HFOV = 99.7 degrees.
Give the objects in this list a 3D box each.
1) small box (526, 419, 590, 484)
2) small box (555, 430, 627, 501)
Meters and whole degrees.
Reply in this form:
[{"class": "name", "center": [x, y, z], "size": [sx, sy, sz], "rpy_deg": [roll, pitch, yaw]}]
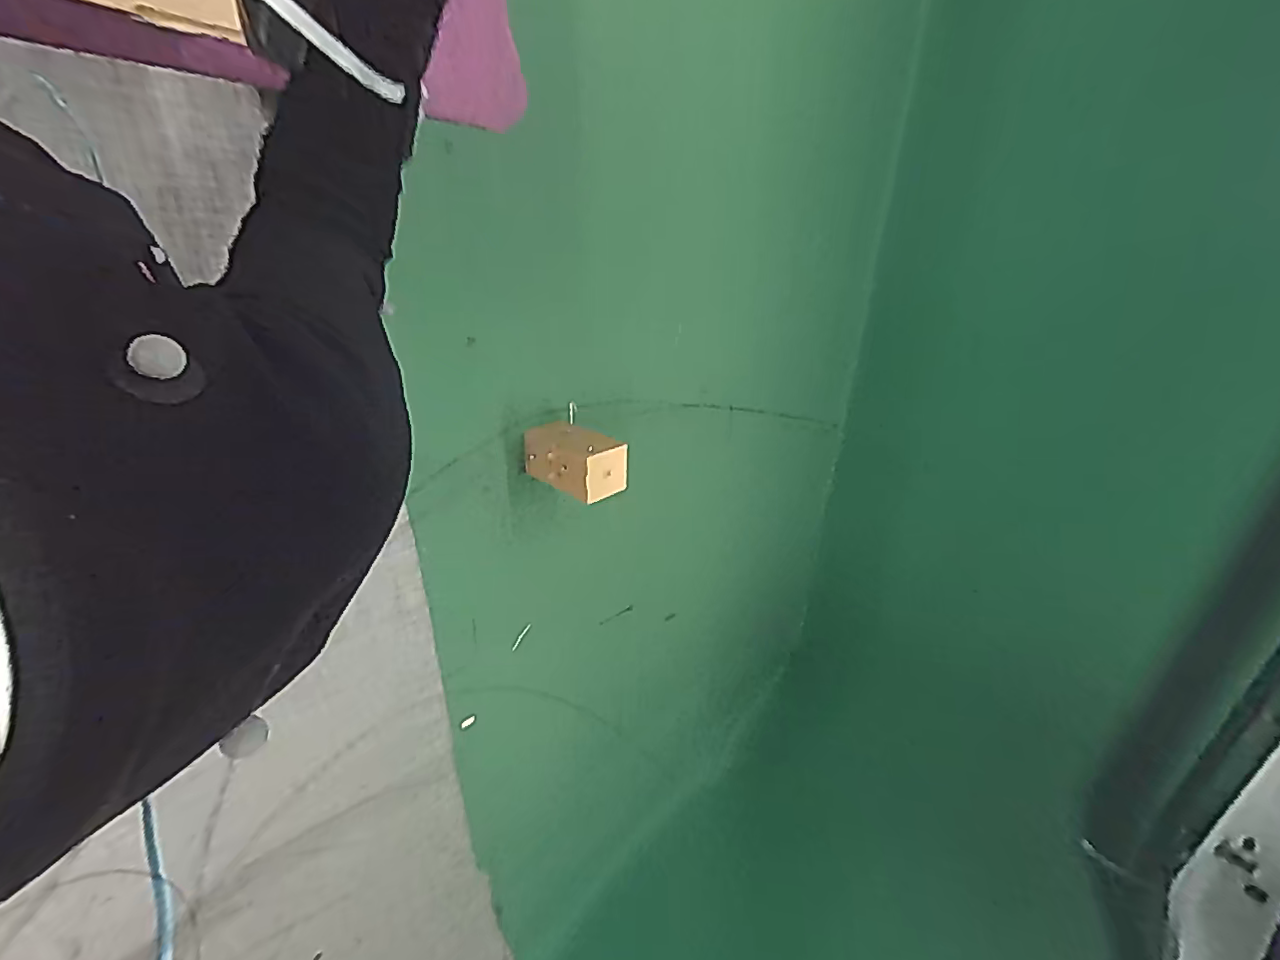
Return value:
[{"class": "small box", "center": [-0.282, -0.106, 1.900], "size": [0.179, 0.176, 0.168], "rpy_deg": [-21, 124, -42]}, {"class": "small box", "center": [-0.164, -0.056, 1.799], "size": [0.179, 0.176, 0.168], "rpy_deg": [-23, 125, -41]}]
